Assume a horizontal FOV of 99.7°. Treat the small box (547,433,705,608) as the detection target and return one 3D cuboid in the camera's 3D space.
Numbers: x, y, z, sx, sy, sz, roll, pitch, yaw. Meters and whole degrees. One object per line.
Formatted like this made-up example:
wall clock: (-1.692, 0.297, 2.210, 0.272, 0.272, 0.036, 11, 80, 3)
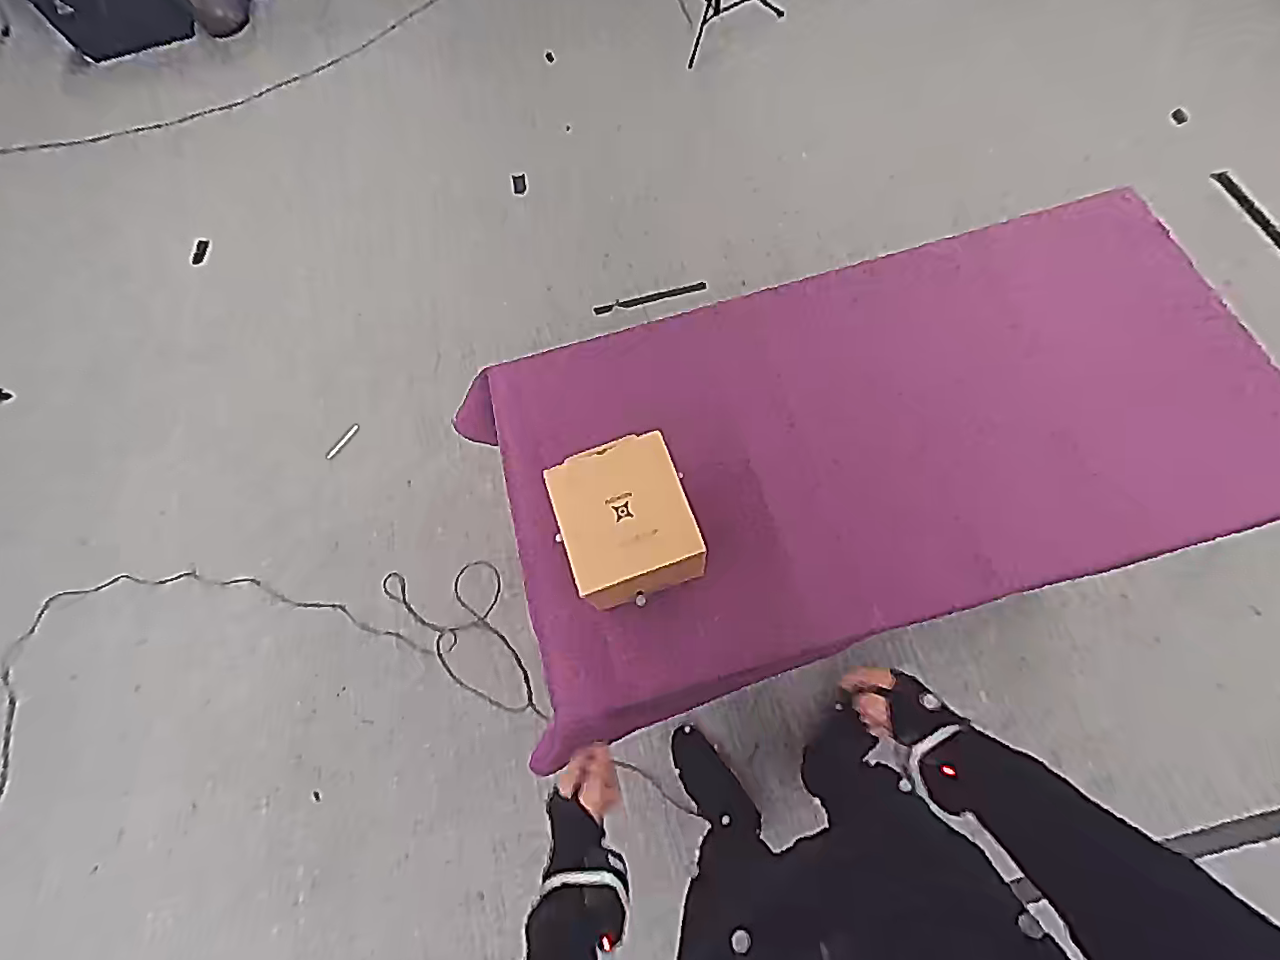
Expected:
small box: (-0.017, 0.065, 0.764, 0.168, 0.176, 0.179, -19, 69, -2)
